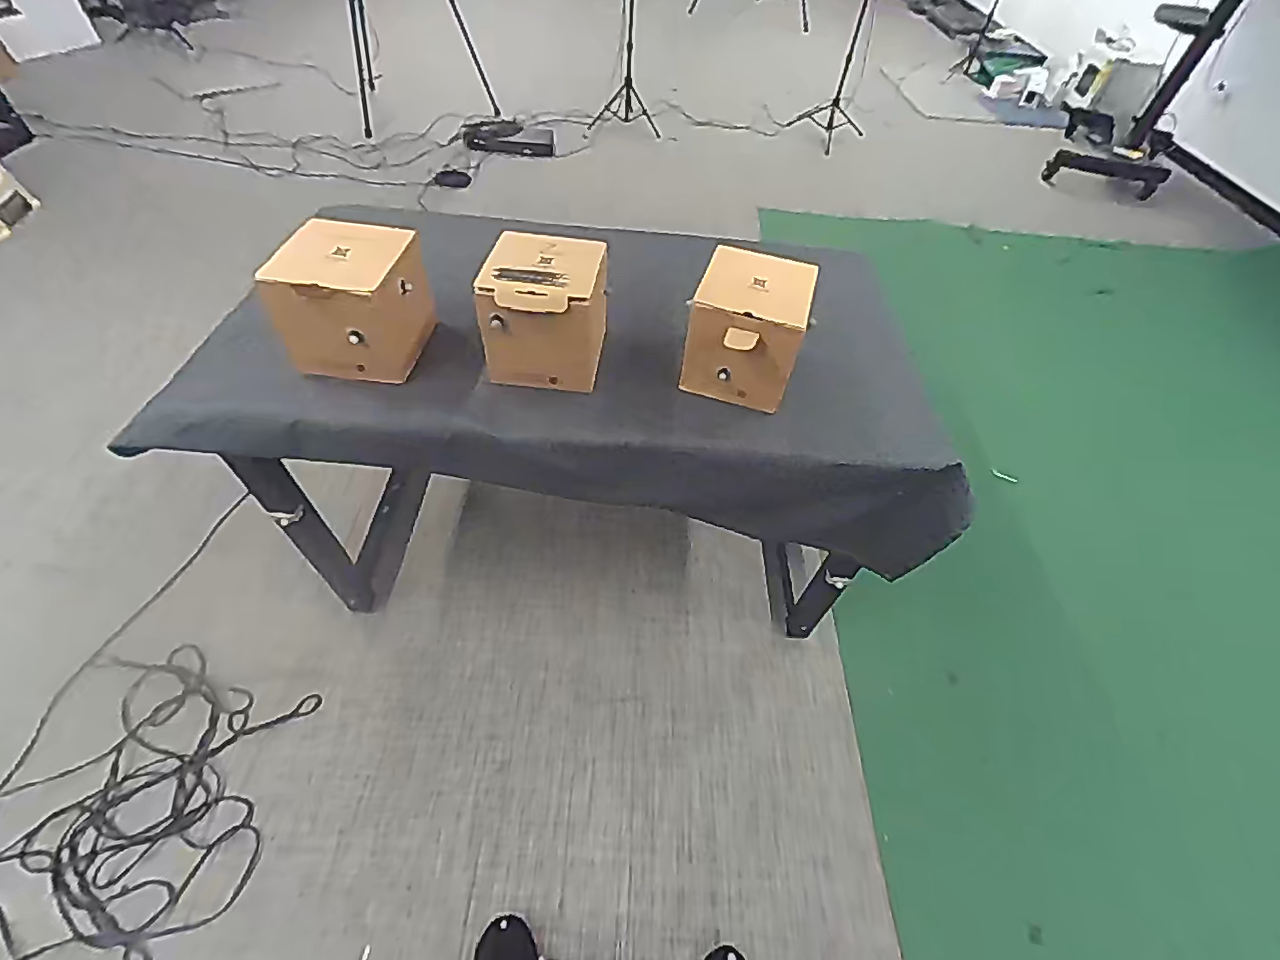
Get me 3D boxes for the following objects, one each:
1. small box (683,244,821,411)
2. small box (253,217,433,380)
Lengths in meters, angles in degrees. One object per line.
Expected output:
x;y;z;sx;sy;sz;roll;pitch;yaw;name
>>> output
0.173;-0.242;0.864;0.168;0.176;0.179;16;53;8;small box
-0.437;-0.276;0.836;0.168;0.176;0.179;7;50;-1;small box
